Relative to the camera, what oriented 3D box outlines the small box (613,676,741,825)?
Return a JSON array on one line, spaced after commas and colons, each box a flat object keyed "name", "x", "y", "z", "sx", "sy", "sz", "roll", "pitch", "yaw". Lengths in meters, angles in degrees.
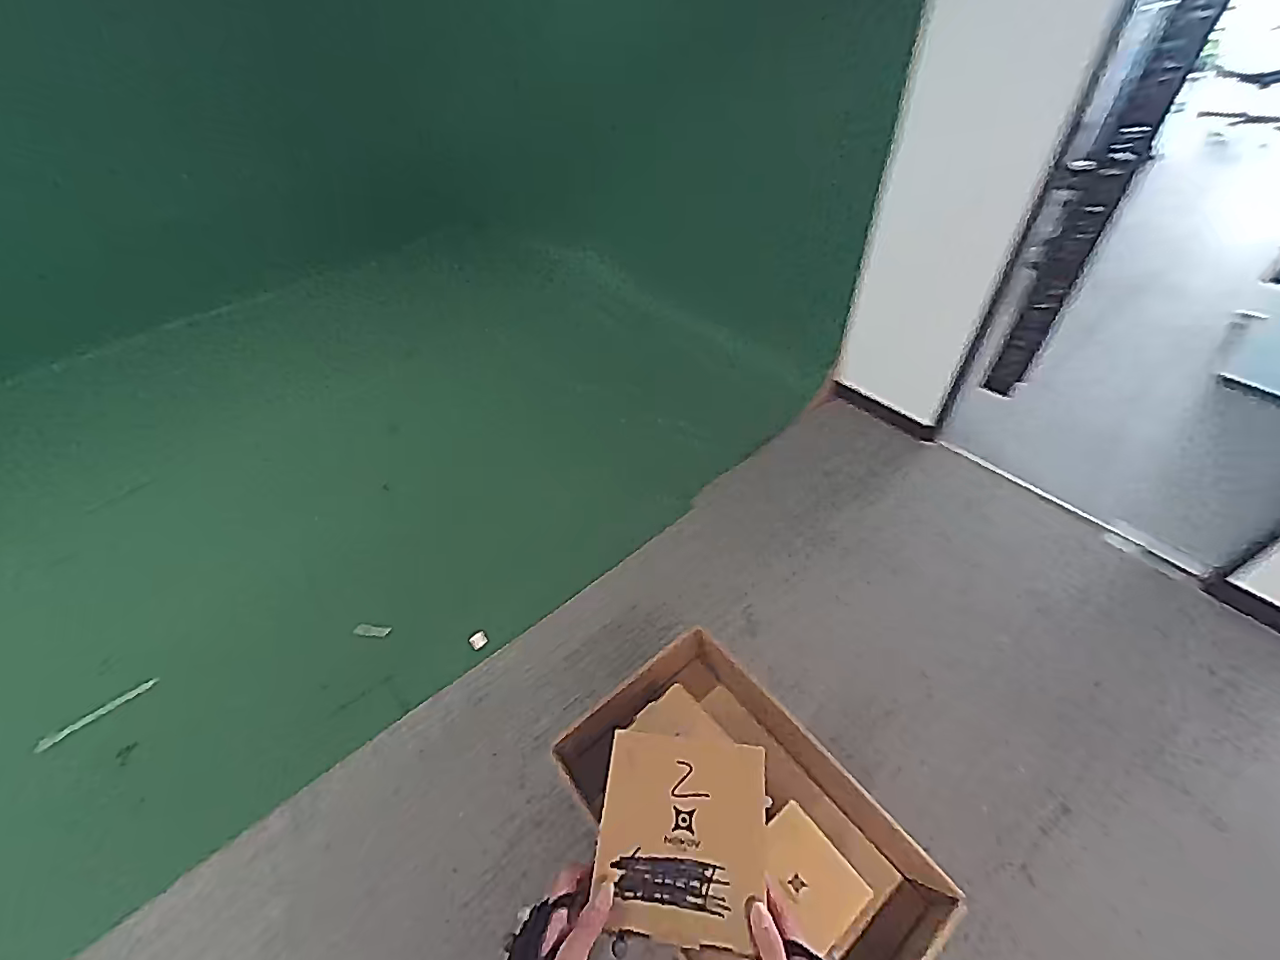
[{"name": "small box", "x": 0.067, "y": 0.520, "z": 1.035, "sx": 0.168, "sy": 0.176, "sz": 0.179, "roll": -33, "pitch": 56, "yaw": -23}]
